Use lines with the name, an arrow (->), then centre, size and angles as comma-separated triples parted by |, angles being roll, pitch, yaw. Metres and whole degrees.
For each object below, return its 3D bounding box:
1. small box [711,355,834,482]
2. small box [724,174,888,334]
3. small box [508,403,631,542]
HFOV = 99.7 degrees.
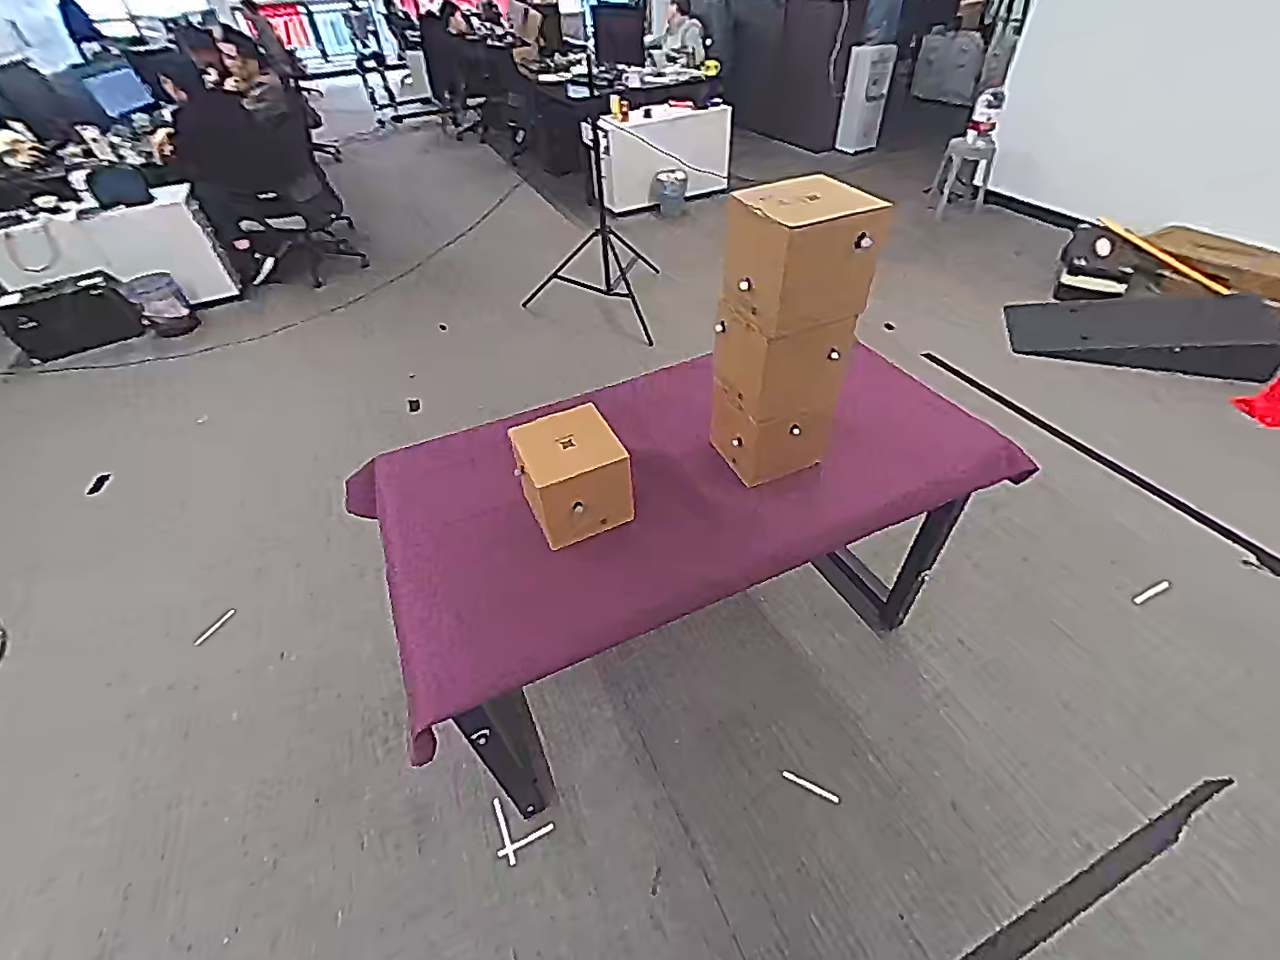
small box -> 0.253, -0.120, 1.081 | 0.179, 0.176, 0.168 | -18, 47, -15
small box -> 0.246, -0.355, 0.850 | 0.179, 0.176, 0.168 | -19, 46, -14
small box -> -0.125, -0.008, 0.997 | 0.168, 0.176, 0.179 | -21, 46, -16
